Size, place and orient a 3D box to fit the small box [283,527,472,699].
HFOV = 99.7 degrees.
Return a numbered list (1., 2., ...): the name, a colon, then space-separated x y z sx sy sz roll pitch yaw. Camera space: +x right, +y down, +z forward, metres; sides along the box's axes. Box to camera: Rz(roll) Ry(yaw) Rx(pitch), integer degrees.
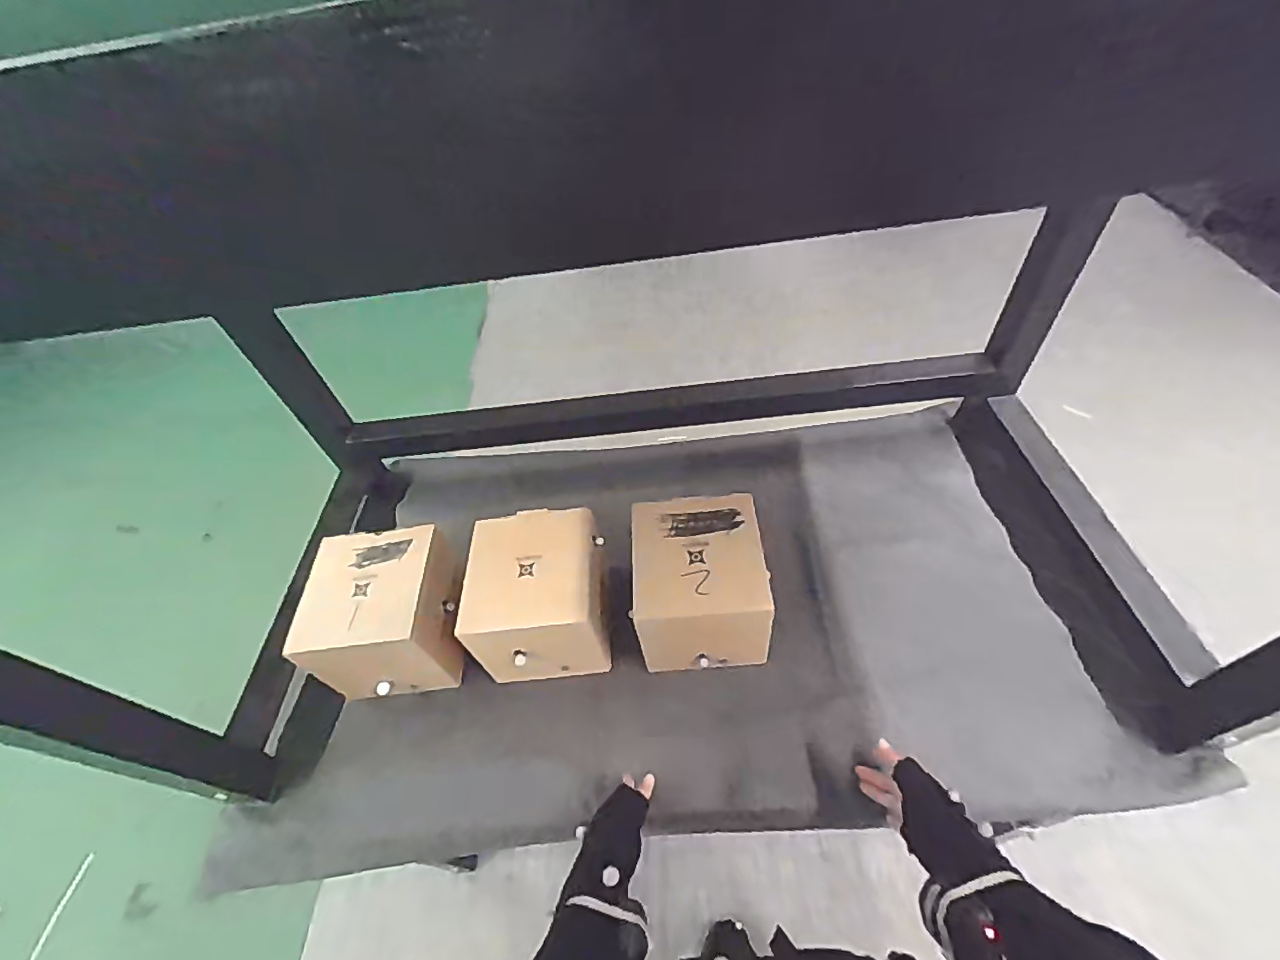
1. small box: -0.355 0.193 0.775 0.168 0.176 0.179 -8 49 3
